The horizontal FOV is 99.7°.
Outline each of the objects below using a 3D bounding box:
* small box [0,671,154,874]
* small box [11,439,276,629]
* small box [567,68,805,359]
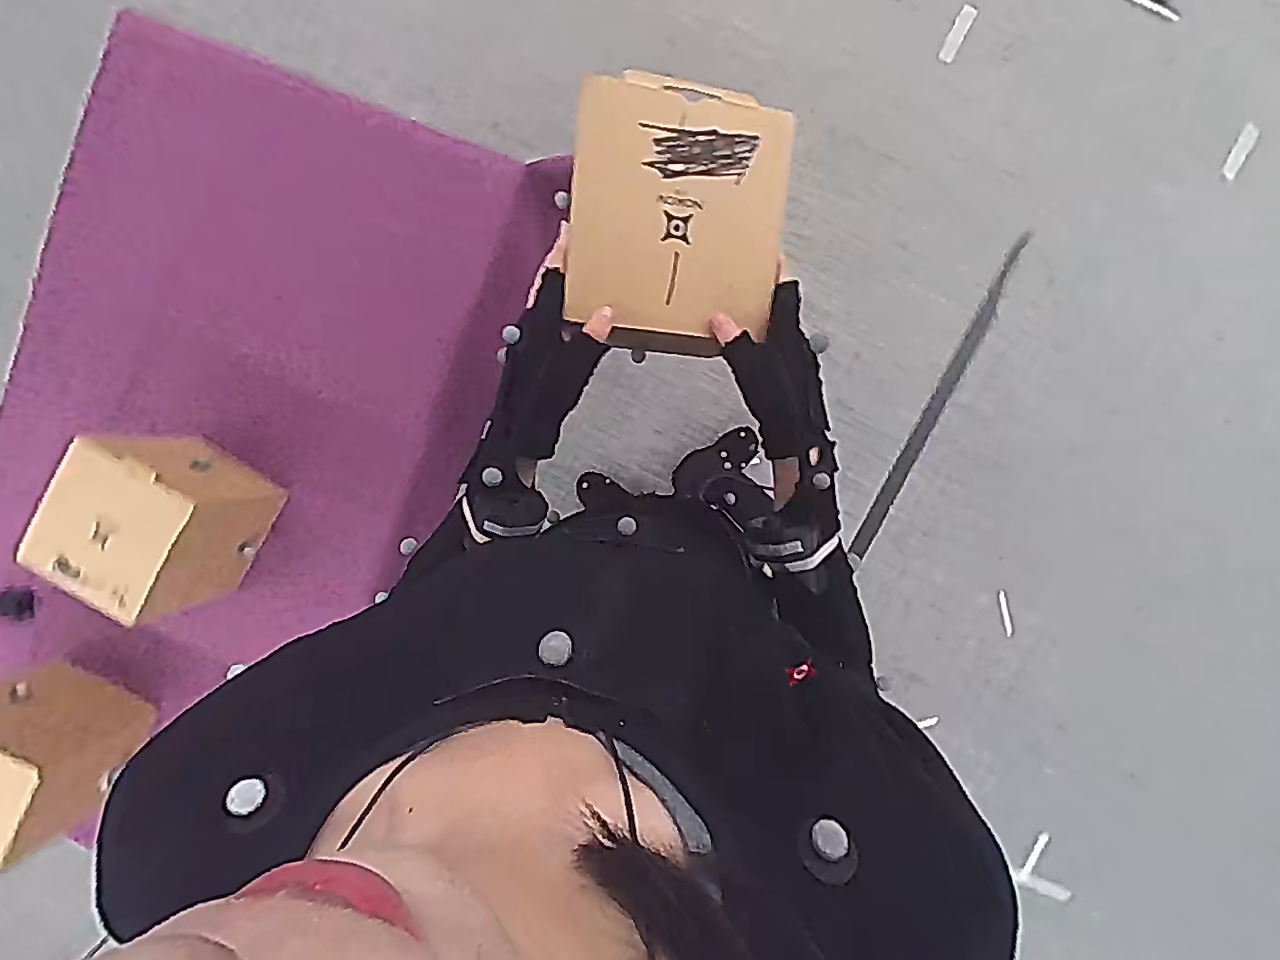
[{"bbox_3d":[-0.847,0.391,0.745,0.179,0.176,0.168,27,94,-1],"label":"small box"},{"bbox_3d":[-0.637,0.061,0.722,0.168,0.176,0.179,31,93,0],"label":"small box"},{"bbox_3d":[0.025,-0.211,0.484,0.168,0.176,0.179,5,98,-9],"label":"small box"}]
